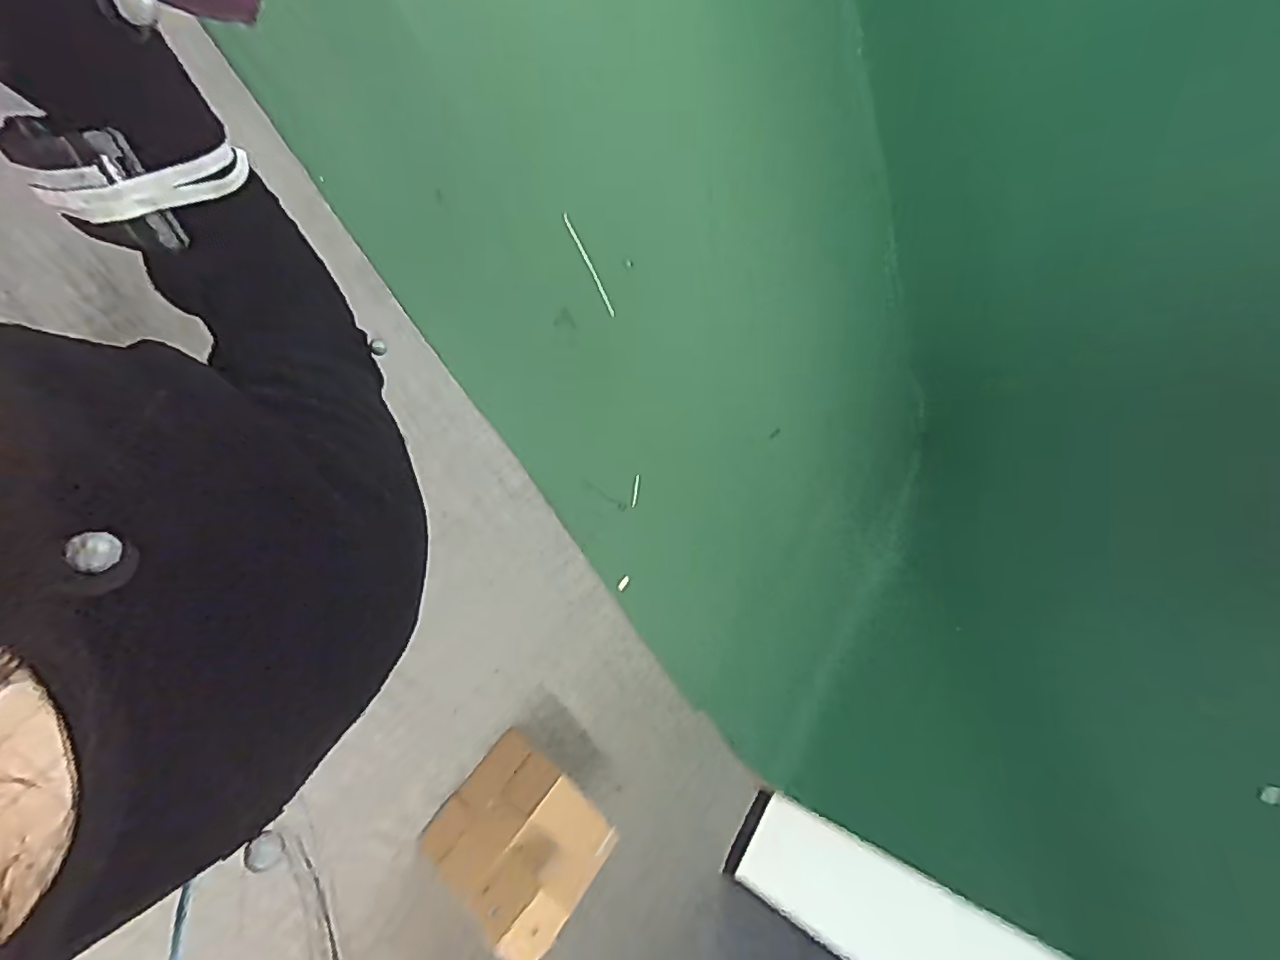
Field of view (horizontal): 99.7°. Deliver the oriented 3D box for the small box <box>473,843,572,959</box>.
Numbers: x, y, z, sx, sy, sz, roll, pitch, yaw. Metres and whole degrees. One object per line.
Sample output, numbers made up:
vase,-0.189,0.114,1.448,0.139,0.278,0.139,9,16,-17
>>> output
small box,-0.323,1.141,1.479,0.168,0.176,0.179,-42,125,-30
